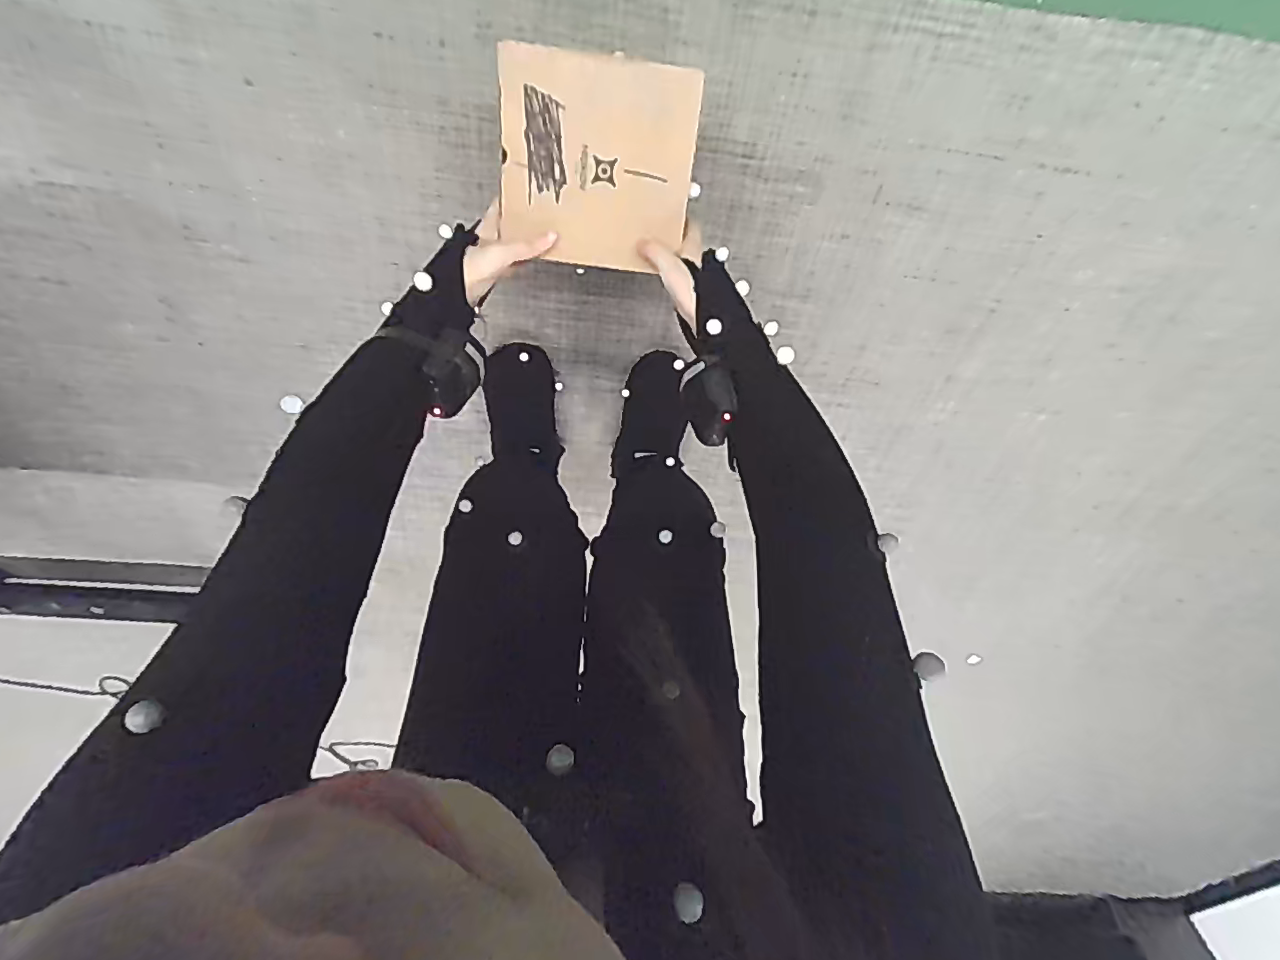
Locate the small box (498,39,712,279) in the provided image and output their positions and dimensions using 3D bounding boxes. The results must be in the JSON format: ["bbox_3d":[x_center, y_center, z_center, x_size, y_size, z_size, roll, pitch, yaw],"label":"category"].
[{"bbox_3d":[-0.035,-0.312,0.546,0.179,0.176,0.168,7,119,-3],"label":"small box"}]
